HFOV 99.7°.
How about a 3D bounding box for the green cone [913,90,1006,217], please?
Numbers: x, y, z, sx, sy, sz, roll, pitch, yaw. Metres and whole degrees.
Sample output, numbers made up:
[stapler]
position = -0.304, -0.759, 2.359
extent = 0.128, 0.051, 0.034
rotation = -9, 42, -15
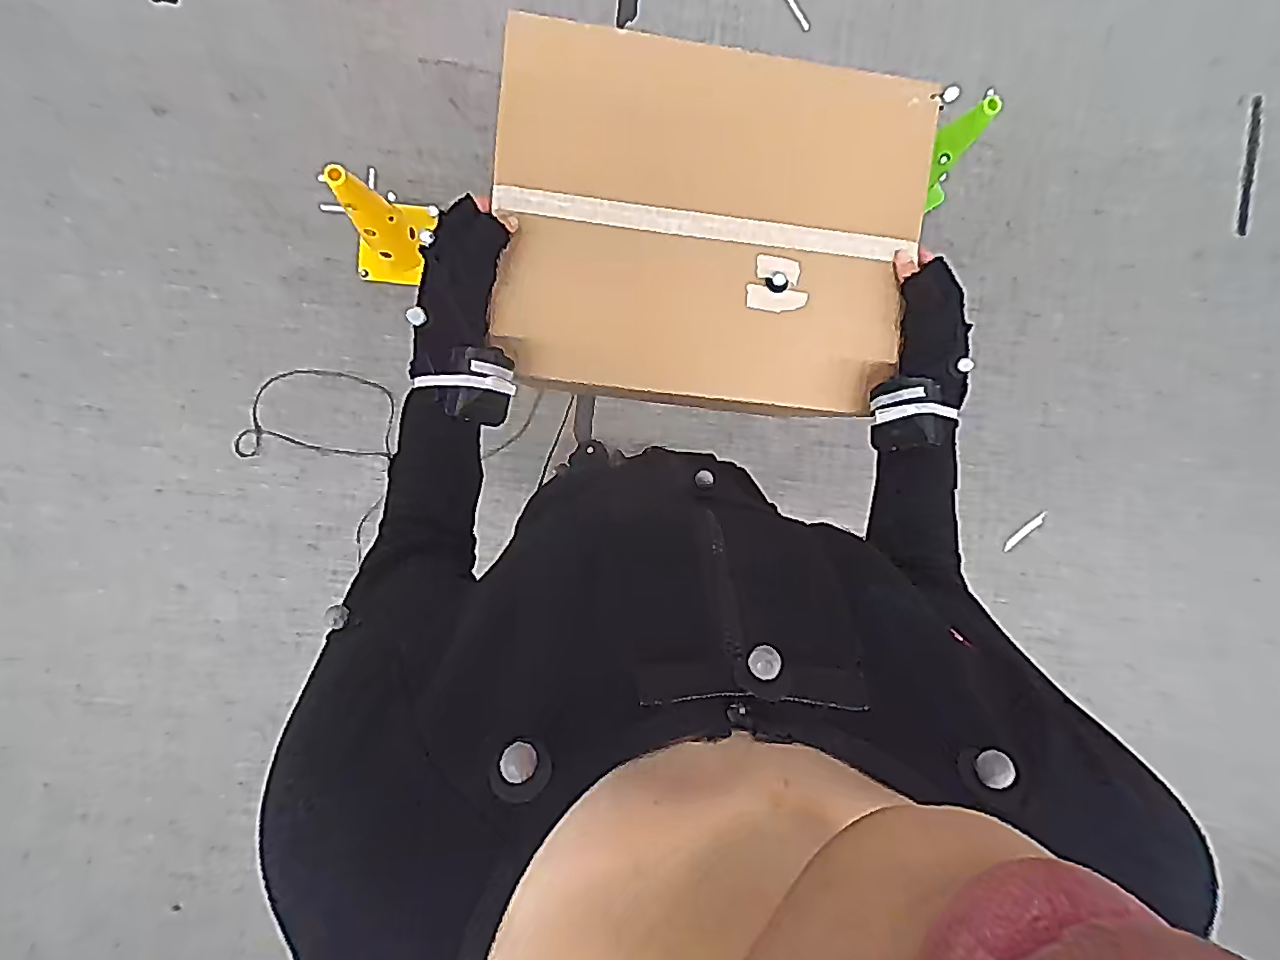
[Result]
[green cone]
position = 0.732, -0.807, 1.315
extent = 0.202, 0.368, 0.200
rotation = -32, 96, -3

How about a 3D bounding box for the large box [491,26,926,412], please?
[large box]
position = 0.052, -0.256, 0.662
extent = 0.408, 0.320, 0.320
rotation = 5, 97, -6
